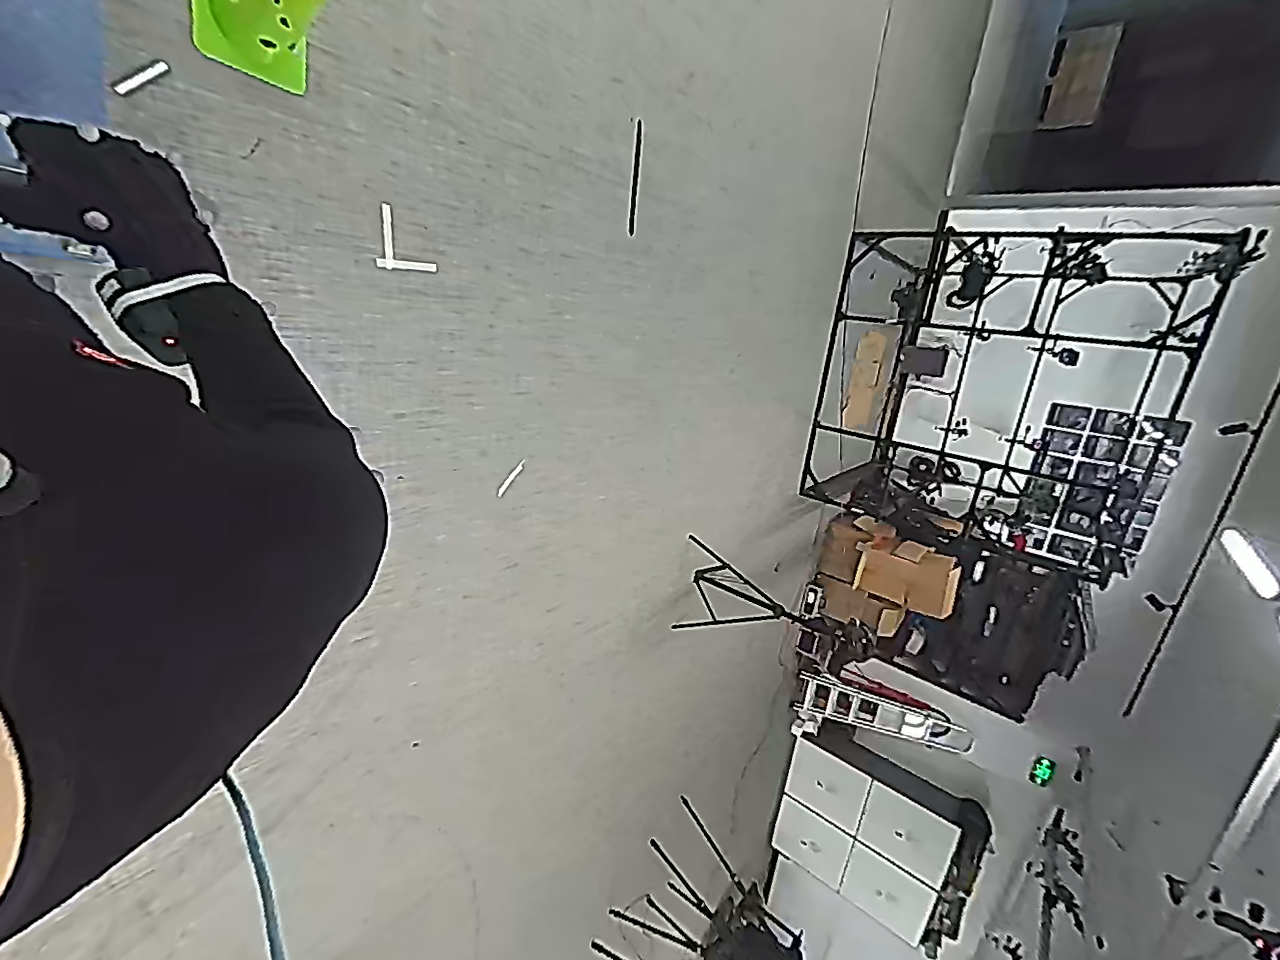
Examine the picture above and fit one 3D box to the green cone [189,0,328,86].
[{"bbox_3d":[-0.662,-0.907,1.007,0.202,0.368,0.200,-10,113,-53],"label":"green cone"}]
